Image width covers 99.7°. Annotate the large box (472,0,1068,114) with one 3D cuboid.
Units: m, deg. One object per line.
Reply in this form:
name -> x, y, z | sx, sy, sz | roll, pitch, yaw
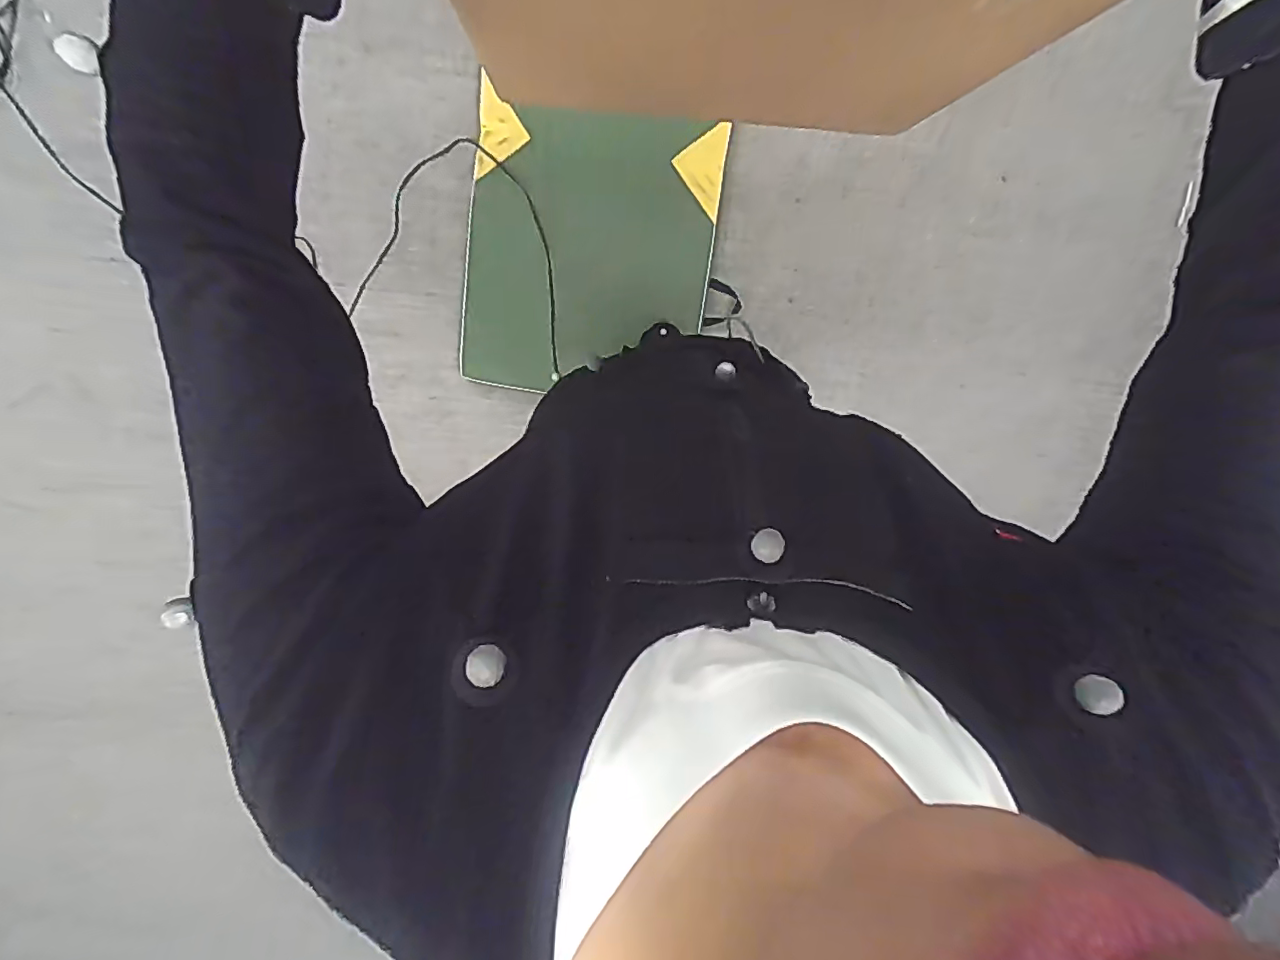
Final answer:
large box -> 0.082, -0.470, 0.346 | 0.408, 0.320, 0.320 | 0, 108, -6
